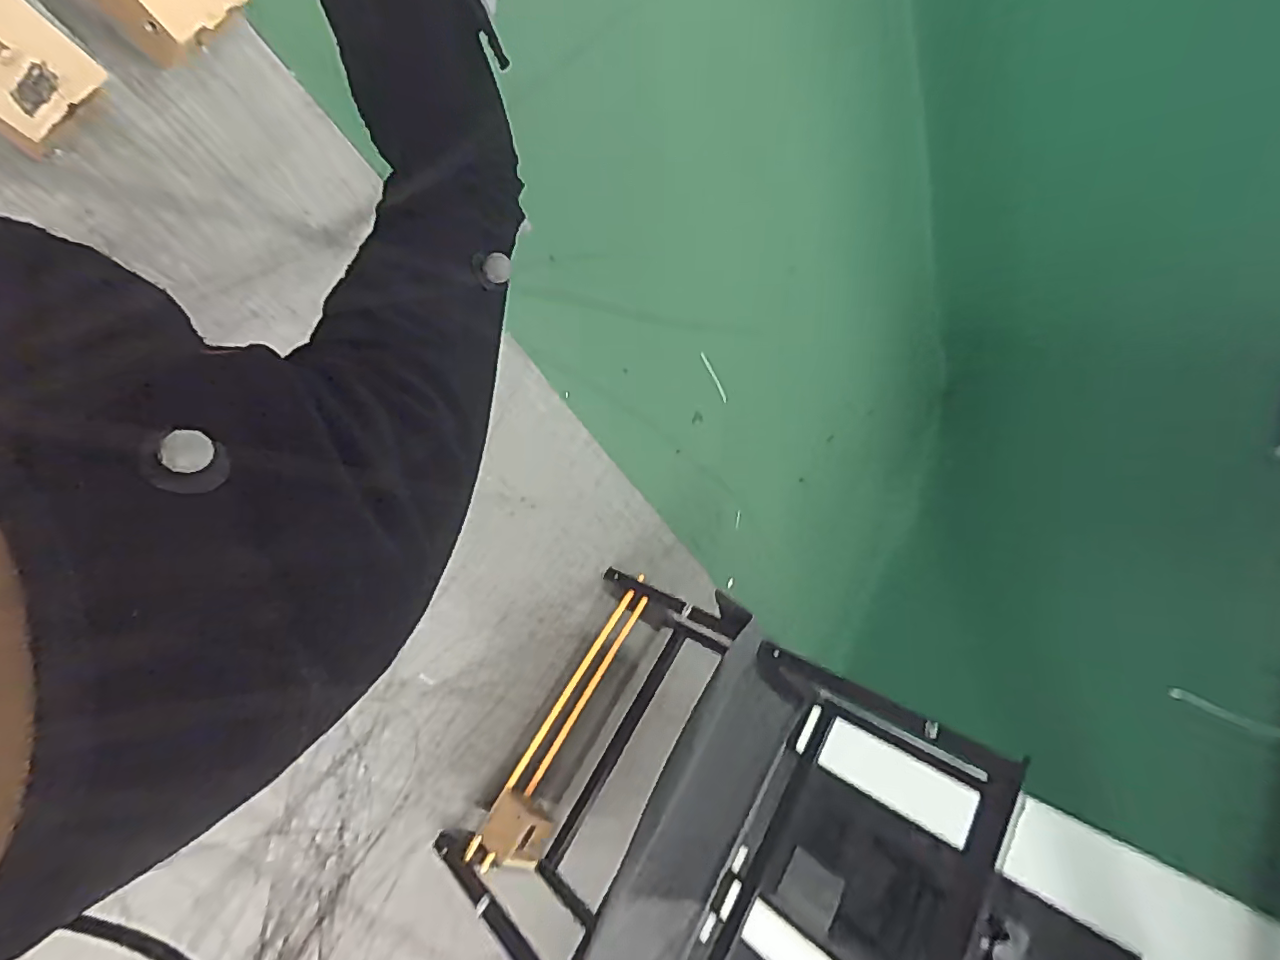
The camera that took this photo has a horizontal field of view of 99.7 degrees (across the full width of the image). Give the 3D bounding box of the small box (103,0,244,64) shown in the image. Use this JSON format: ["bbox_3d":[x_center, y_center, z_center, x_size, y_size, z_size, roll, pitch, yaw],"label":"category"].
[{"bbox_3d":[-0.847,-0.885,0.948,0.168,0.176,0.179,-57,136,-17],"label":"small box"}]

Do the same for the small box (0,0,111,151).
[{"bbox_3d":[-0.999,-0.654,0.852,0.179,0.176,0.168,45,68,-44],"label":"small box"}]
